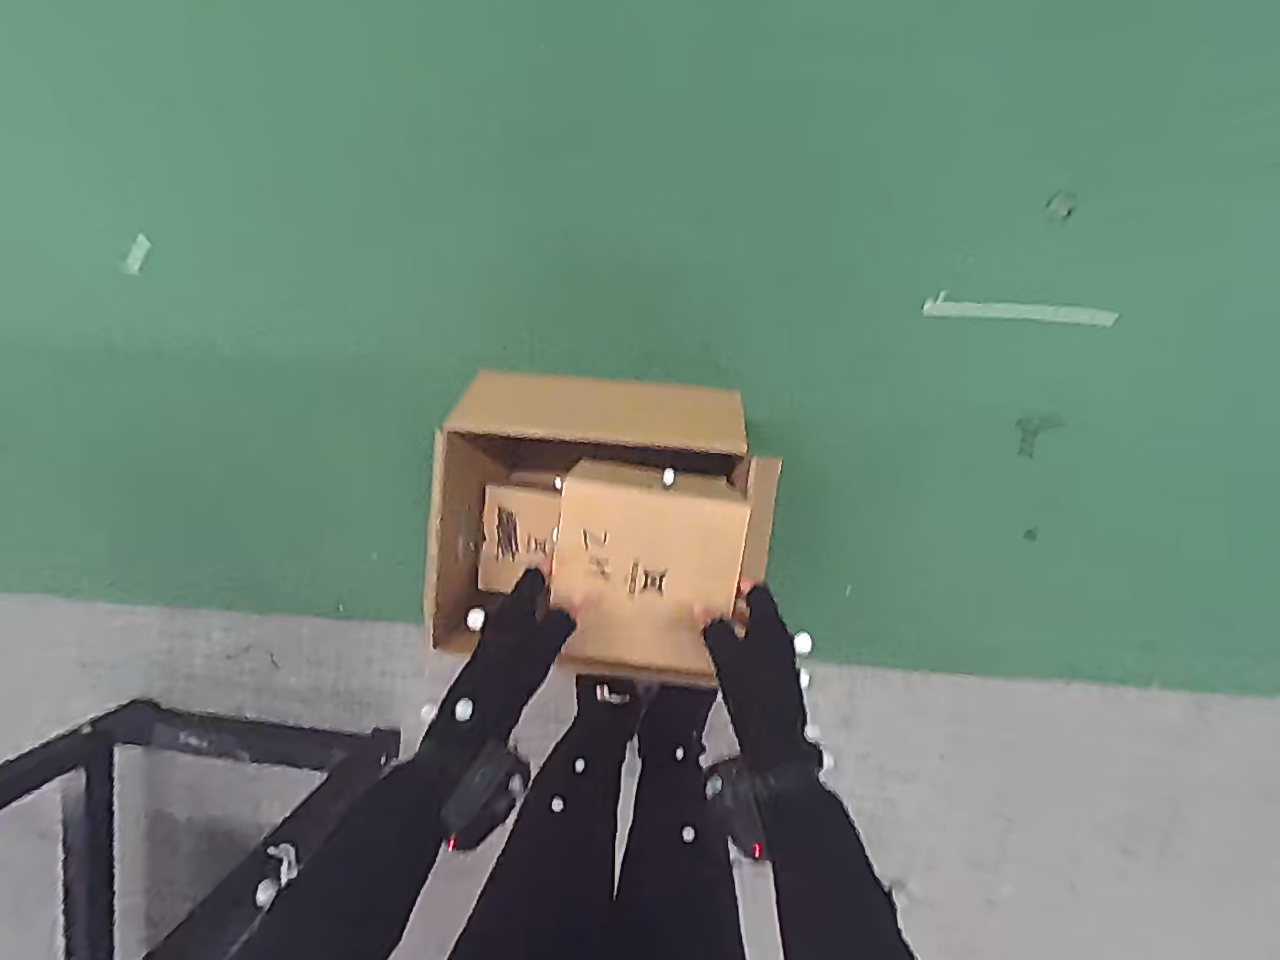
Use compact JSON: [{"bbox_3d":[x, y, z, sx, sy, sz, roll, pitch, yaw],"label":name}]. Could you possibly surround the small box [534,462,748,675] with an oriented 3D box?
[{"bbox_3d":[-0.001,0.078,0.565,0.179,0.176,0.168,8,98,-1],"label":"small box"}]
